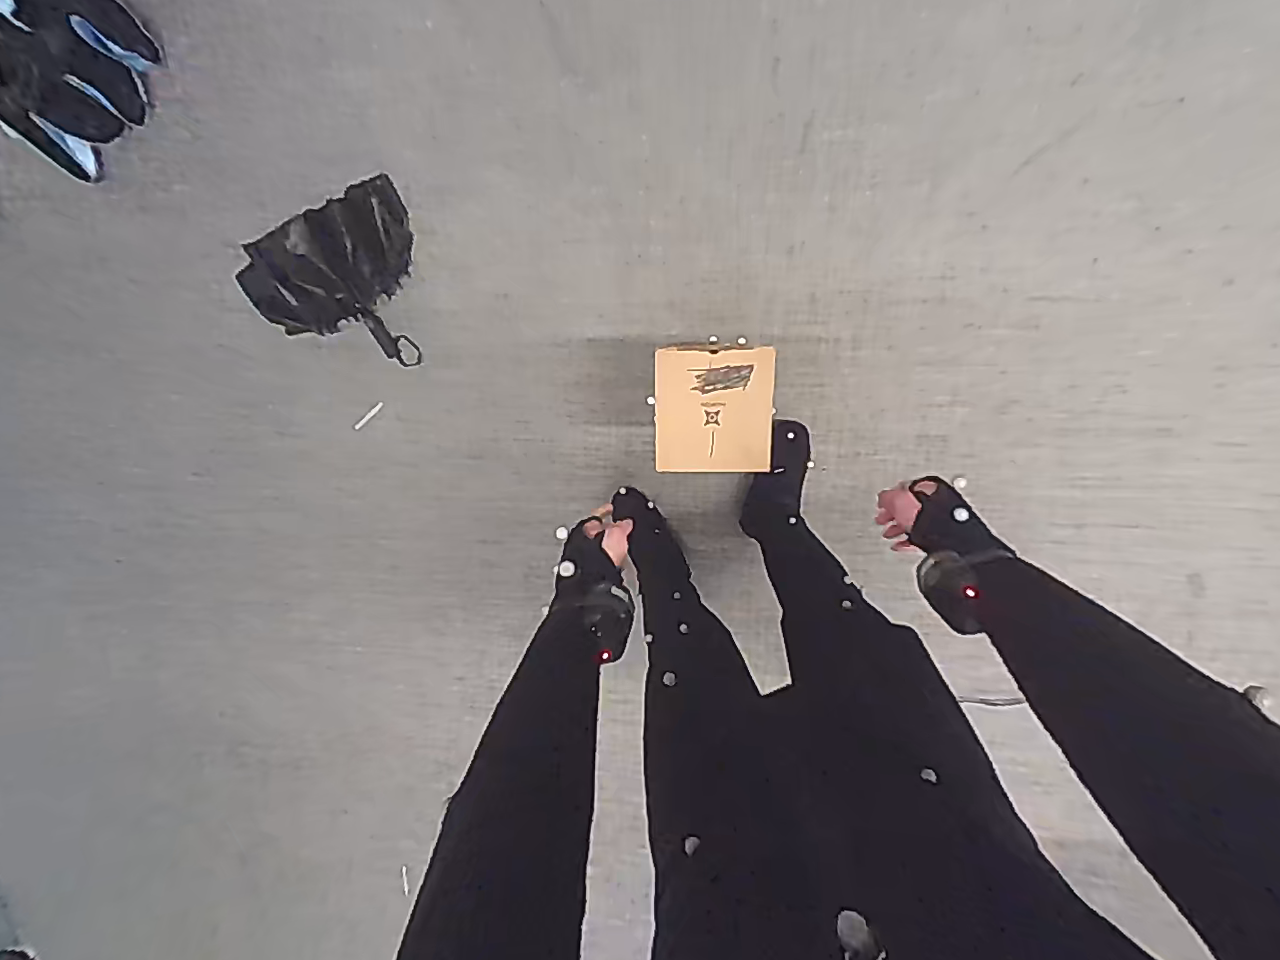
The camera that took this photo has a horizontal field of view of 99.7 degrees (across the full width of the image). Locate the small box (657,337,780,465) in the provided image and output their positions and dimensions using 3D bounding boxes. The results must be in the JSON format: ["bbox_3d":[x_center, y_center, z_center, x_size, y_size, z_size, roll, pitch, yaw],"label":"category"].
[{"bbox_3d":[0.112,-0.125,0.825,0.168,0.176,0.179,1,104,5],"label":"small box"}]
